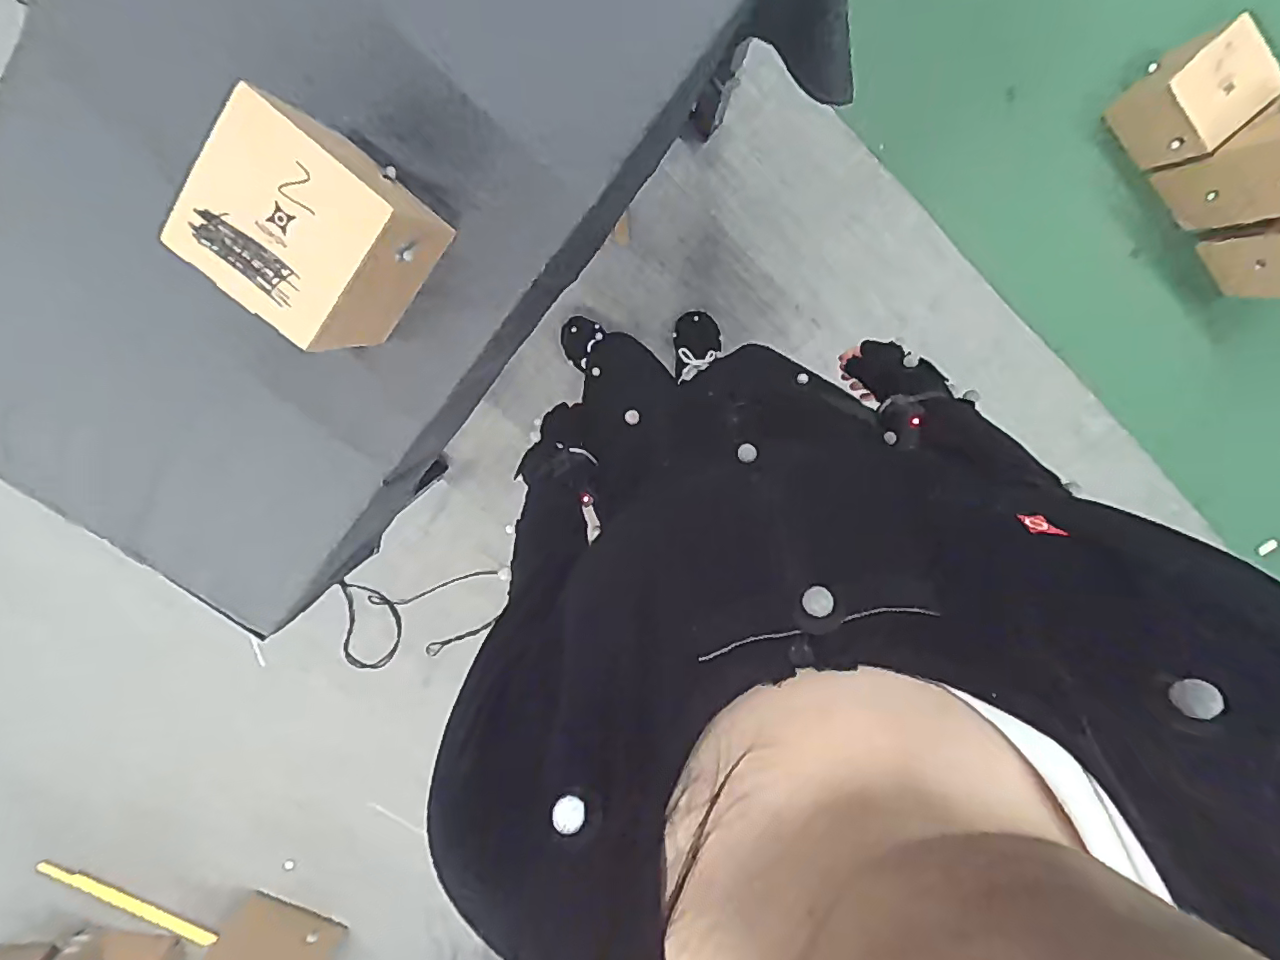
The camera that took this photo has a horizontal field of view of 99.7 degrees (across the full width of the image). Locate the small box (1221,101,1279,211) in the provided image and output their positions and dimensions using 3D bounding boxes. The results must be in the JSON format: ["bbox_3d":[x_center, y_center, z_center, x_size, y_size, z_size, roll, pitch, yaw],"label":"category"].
[{"bbox_3d":[1.286,-0.636,1.019,0.168,0.176,0.179,-41,102,15],"label":"small box"}]

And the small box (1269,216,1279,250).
[{"bbox_3d":[1.430,-0.500,1.058,0.179,0.176,0.168,40,105,-12],"label":"small box"}]
